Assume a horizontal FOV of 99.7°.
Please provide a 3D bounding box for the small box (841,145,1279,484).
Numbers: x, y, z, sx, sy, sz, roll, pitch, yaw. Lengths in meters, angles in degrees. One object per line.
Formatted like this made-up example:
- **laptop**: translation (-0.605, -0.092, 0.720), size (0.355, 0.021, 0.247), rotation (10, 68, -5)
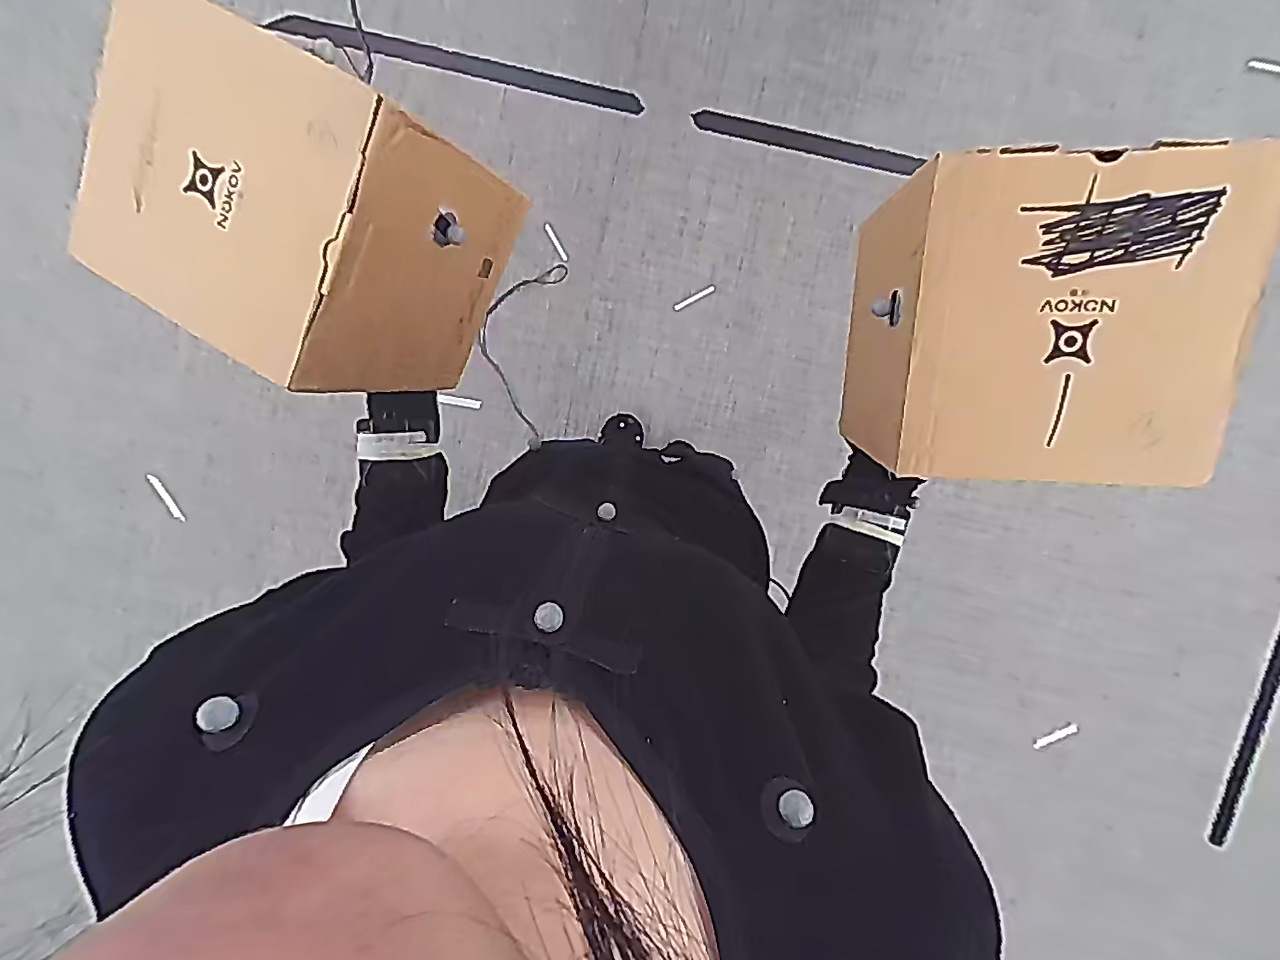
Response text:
- **small box**: translation (0.246, -0.104, 0.374), size (0.168, 0.176, 0.179), rotation (3, 104, 8)

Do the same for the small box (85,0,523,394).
- **small box**: translation (-0.211, -0.174, 0.376), size (0.179, 0.176, 0.168), rotation (30, 105, 8)
